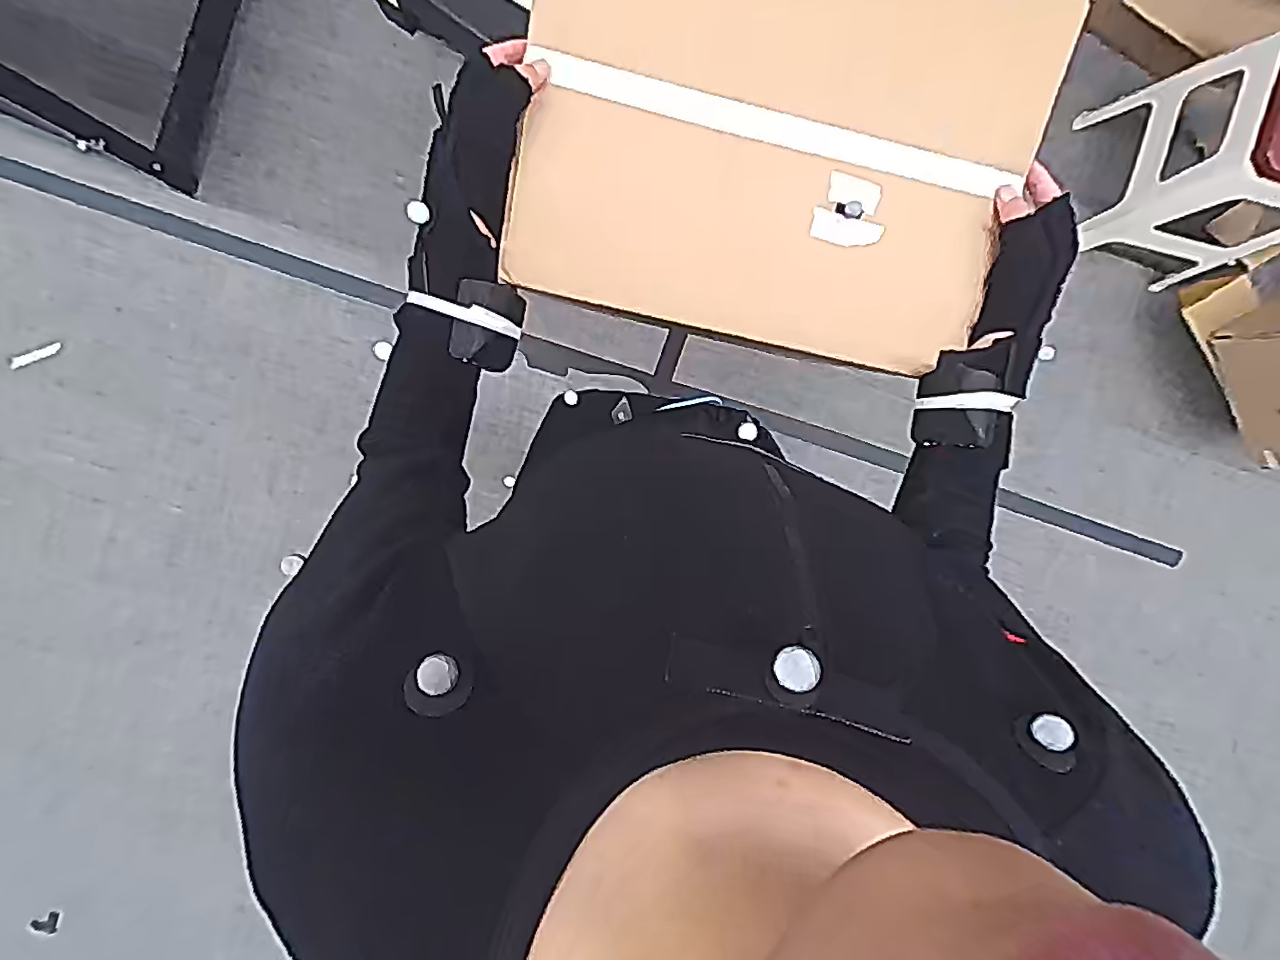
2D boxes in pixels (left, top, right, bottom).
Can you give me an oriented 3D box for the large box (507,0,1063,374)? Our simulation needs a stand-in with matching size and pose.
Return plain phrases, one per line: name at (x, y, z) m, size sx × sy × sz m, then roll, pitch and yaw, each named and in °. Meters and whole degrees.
large box at (0.098, -0.314, 0.579) m, size 0.408 × 0.320 × 0.320 m, roll 11°, pitch 105°, yaw -7°
